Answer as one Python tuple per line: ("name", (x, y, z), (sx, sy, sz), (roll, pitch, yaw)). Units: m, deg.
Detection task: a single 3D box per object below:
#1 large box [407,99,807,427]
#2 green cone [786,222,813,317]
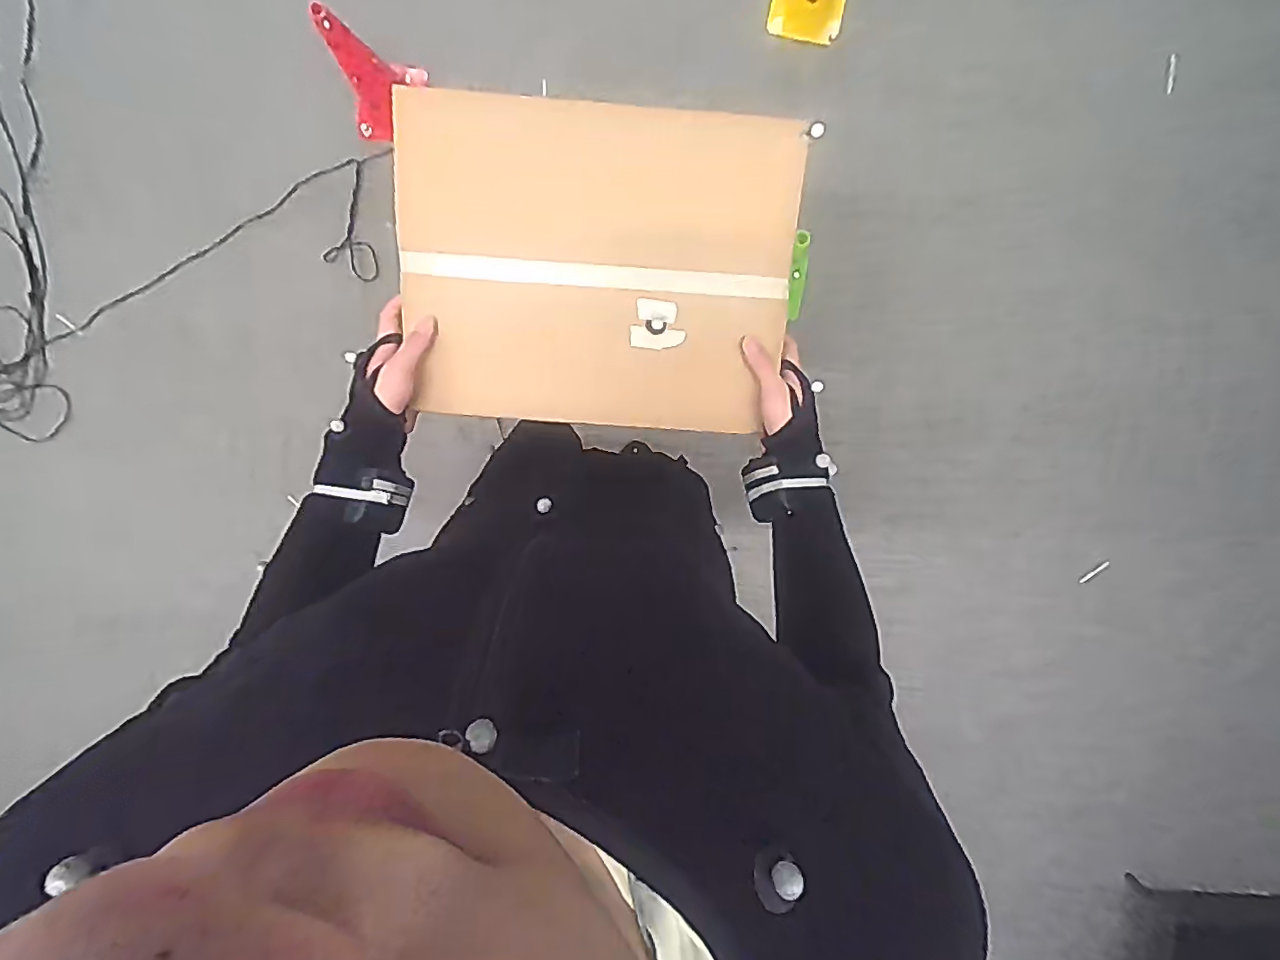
("large box", (-0.042, -0.255, 0.714), (0.408, 0.320, 0.320), (3, 106, -2))
("green cone", (0.374, -0.567, 1.388), (0.200, 0.368, 0.202), (8, 95, 0))
